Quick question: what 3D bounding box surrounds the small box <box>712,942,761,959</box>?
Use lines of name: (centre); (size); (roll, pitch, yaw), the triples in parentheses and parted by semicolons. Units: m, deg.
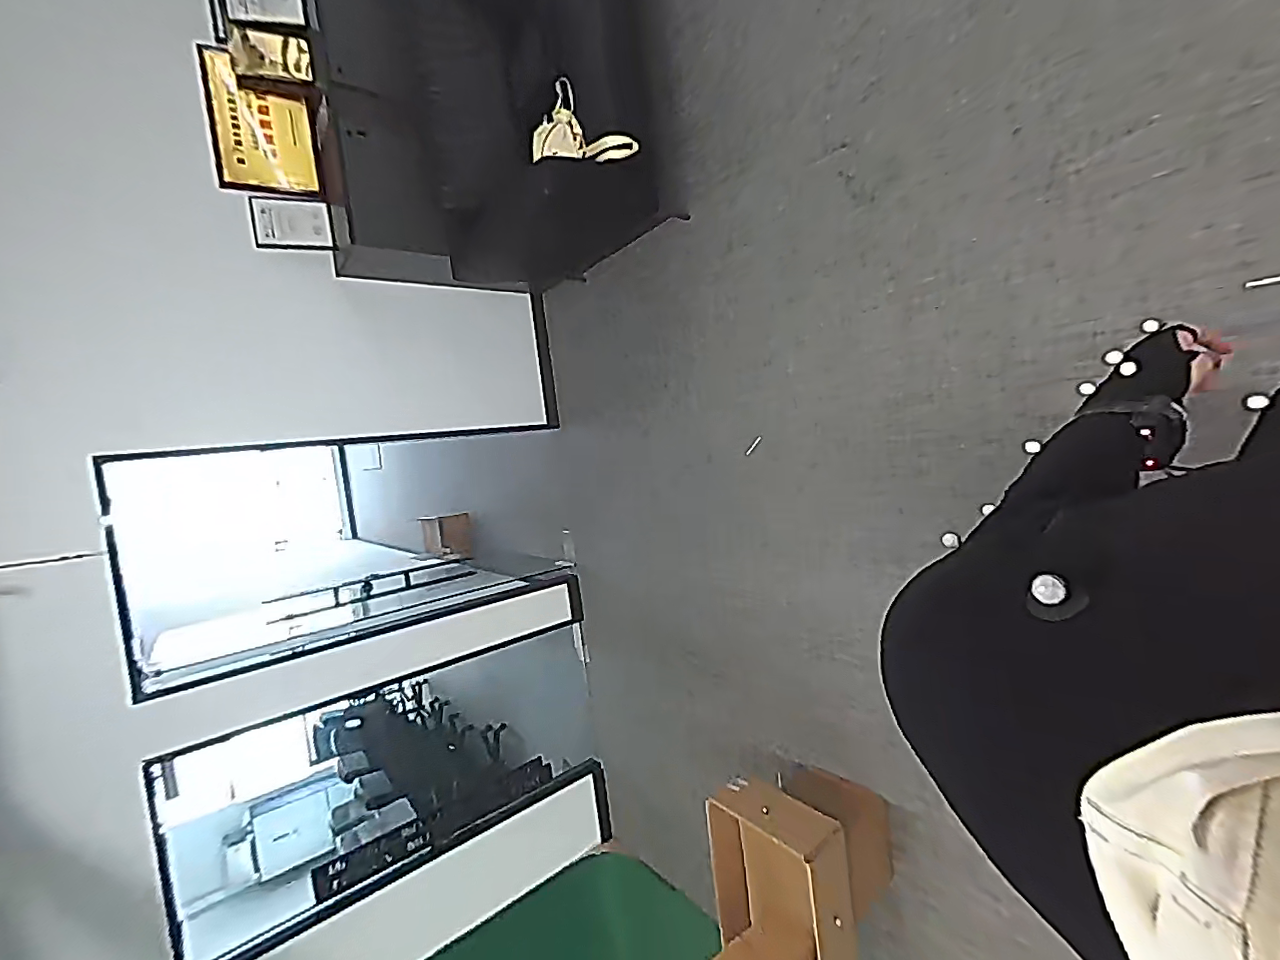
small box: (0.294, 1.503, 1.566); (0.179, 0.176, 0.168); (1, 99, 53)
